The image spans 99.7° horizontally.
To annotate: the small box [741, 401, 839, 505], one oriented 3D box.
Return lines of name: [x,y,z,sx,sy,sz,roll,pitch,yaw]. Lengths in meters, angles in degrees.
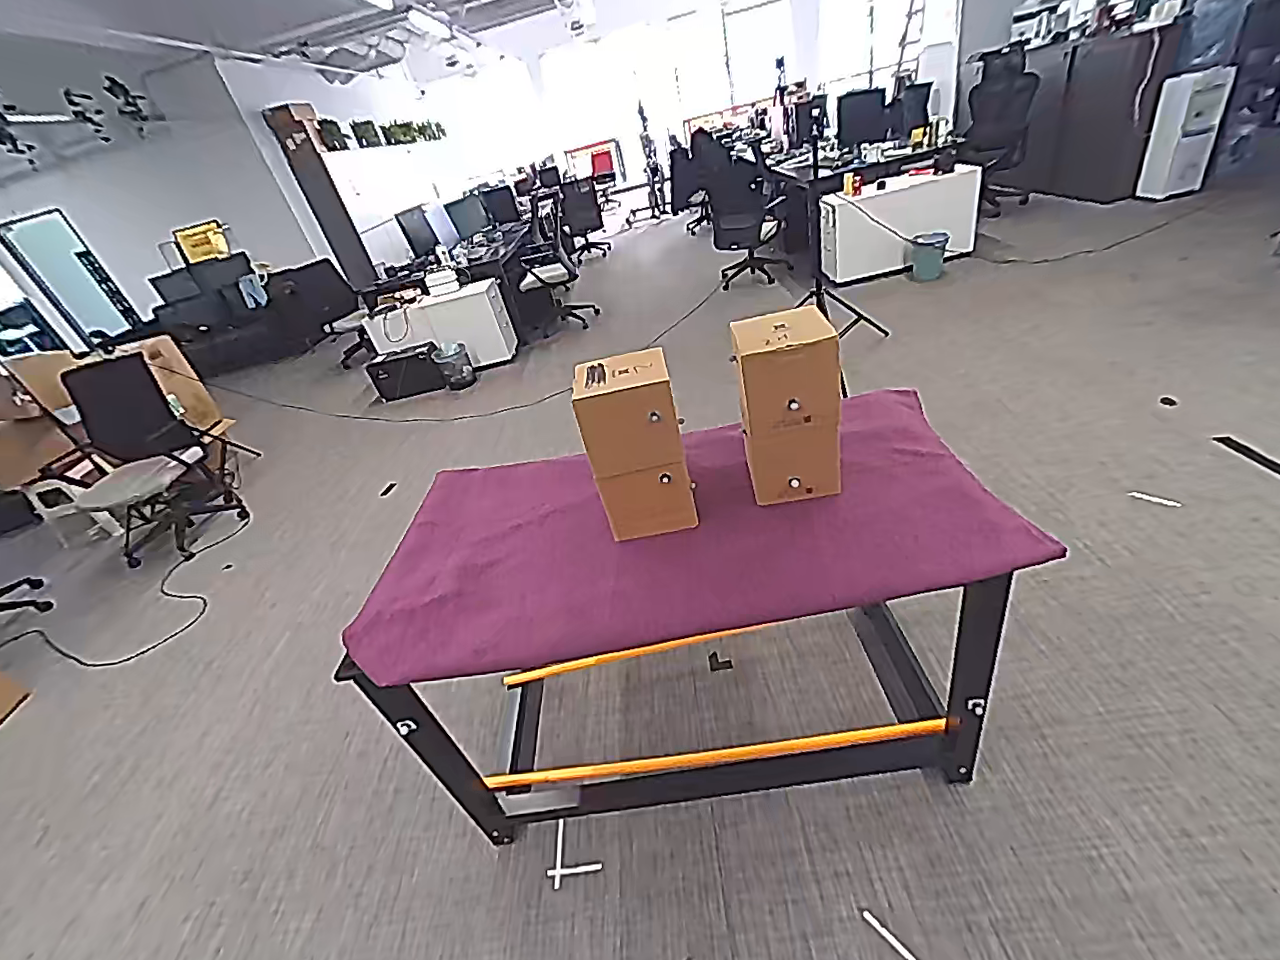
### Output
small box: [0.305,-0.072,1.115,0.168,0.176,0.179,-10,34,9]

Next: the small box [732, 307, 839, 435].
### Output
small box: [0.272,-0.205,1.024,0.168,0.176,0.179,-10,34,9]

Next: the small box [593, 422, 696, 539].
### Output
small box: [0.012,0.003,1.126,0.179,0.176,0.168,-11,33,5]
